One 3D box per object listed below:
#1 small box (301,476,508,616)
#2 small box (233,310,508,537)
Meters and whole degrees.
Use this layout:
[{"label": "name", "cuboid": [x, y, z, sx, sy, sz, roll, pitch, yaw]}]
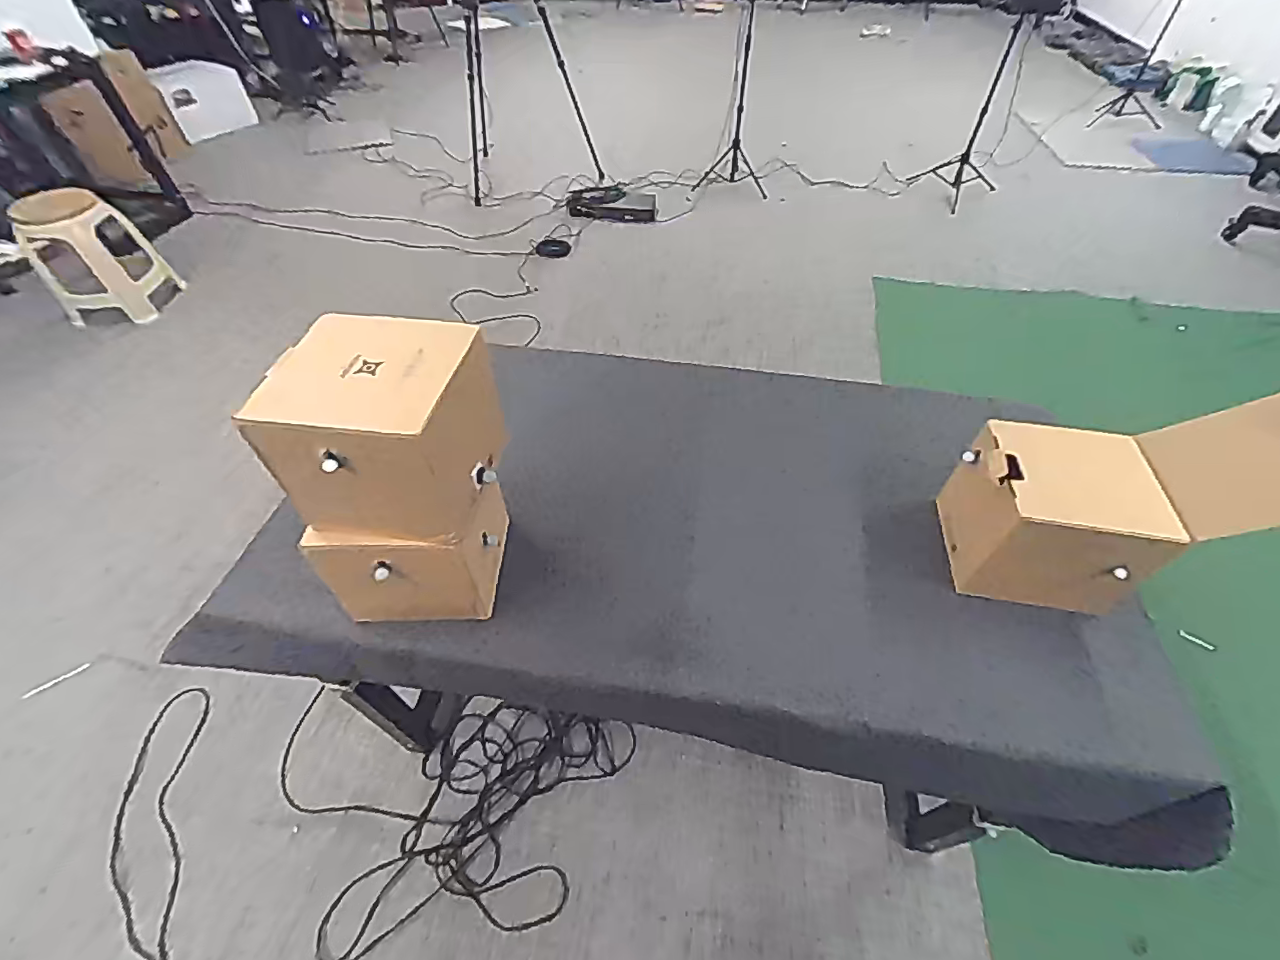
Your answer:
[{"label": "small box", "cuboid": [-0.274, 0.060, 0.684, 0.179, 0.176, 0.168, 0, 48, 0]}, {"label": "small box", "cuboid": [-0.257, -0.056, 0.570, 0.179, 0.176, 0.168, 6, 50, 4]}]
